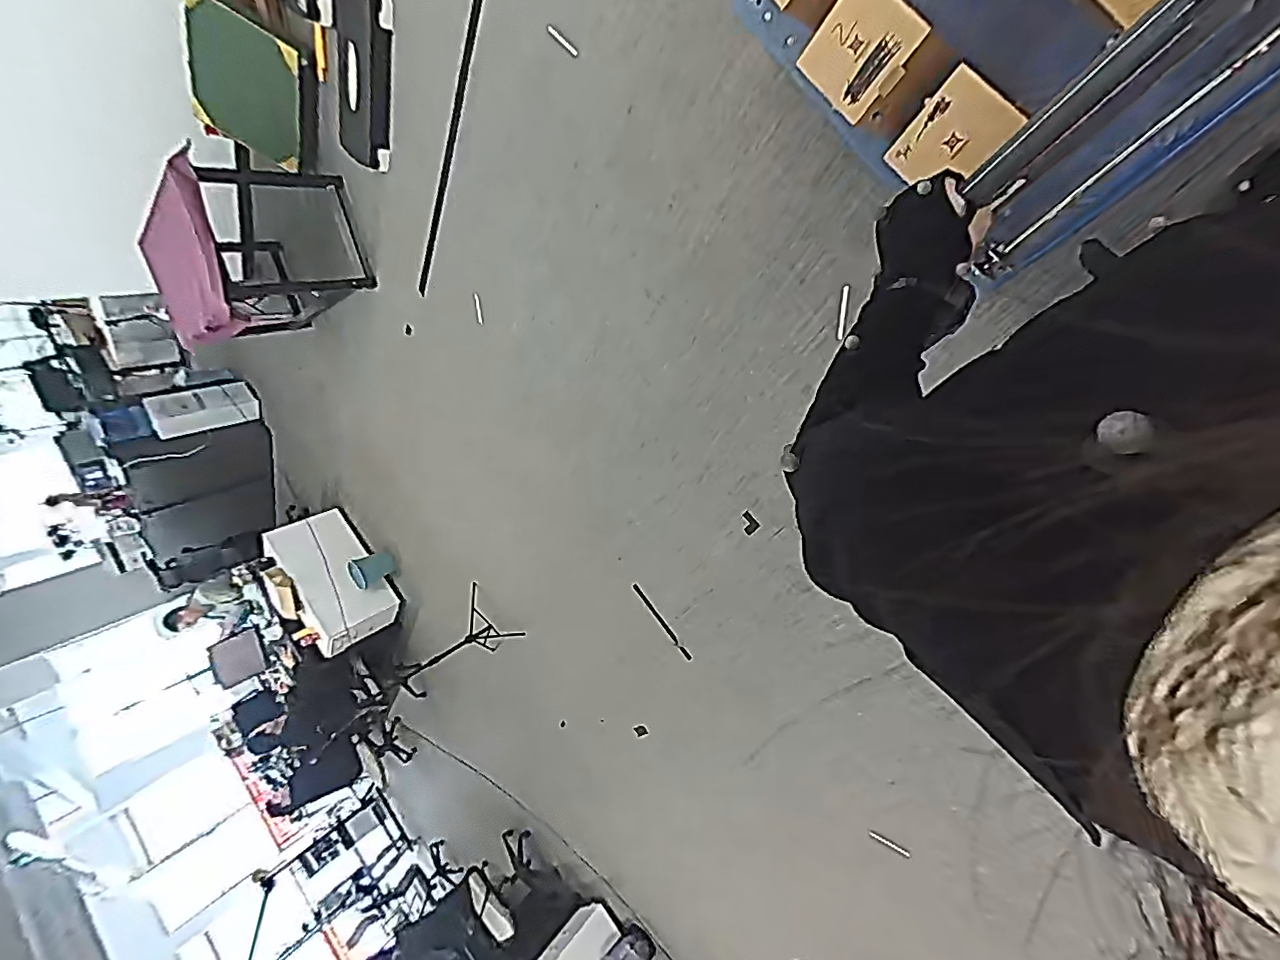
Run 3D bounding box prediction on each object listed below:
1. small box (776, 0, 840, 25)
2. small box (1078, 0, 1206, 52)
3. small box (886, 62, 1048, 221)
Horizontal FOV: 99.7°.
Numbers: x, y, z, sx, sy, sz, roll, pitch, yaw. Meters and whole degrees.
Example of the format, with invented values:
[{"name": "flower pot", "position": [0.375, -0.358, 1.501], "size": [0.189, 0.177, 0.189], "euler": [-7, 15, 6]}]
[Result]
[{"name": "small box", "position": [0.310, -1.003, 1.007], "size": [0.179, 0.176, 0.168], "euler": [54, 135, 7]}, {"name": "small box", "position": [0.734, -0.743, 0.753], "size": [0.179, 0.176, 0.168], "euler": [55, 134, 9]}, {"name": "small box", "position": [0.583, -0.588, 0.958], "size": [0.179, 0.176, 0.168], "euler": [51, 133, 11]}]
